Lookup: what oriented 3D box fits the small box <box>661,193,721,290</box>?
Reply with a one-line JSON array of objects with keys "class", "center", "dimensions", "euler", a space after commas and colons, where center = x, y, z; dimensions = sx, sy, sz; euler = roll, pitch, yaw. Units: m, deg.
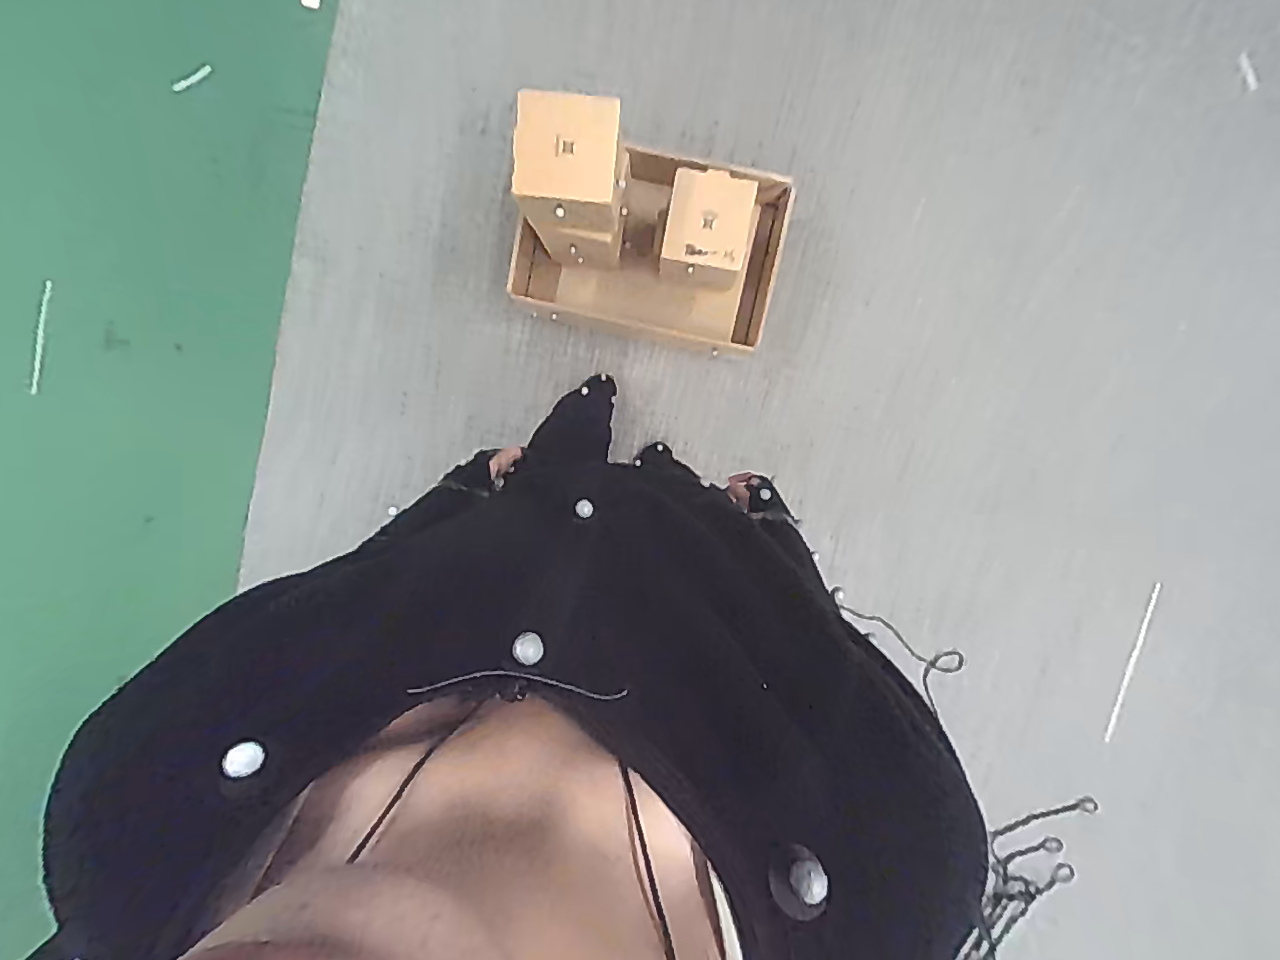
[{"class": "small box", "center": [0.146, -0.568, 1.307], "dimensions": [0.179, 0.176, 0.168], "euler": [7, 97, 1]}]

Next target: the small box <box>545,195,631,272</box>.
[{"class": "small box", "center": [-0.120, -0.617, 1.309], "dimensions": [0.179, 0.176, 0.168], "euler": [9, 97, -2]}]

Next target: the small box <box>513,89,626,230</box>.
[{"class": "small box", "center": [-0.120, -0.570, 0.985], "dimensions": [0.179, 0.176, 0.168], "euler": [6, 98, 1]}]

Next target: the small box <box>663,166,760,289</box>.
[{"class": "small box", "center": [0.143, -0.525, 1.147], "dimensions": [0.168, 0.176, 0.179], "euler": [11, 96, 1]}]

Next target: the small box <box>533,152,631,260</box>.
[{"class": "small box", "center": [-0.115, -0.587, 1.147], "dimensions": [0.168, 0.176, 0.179], "euler": [13, 98, -1]}]
